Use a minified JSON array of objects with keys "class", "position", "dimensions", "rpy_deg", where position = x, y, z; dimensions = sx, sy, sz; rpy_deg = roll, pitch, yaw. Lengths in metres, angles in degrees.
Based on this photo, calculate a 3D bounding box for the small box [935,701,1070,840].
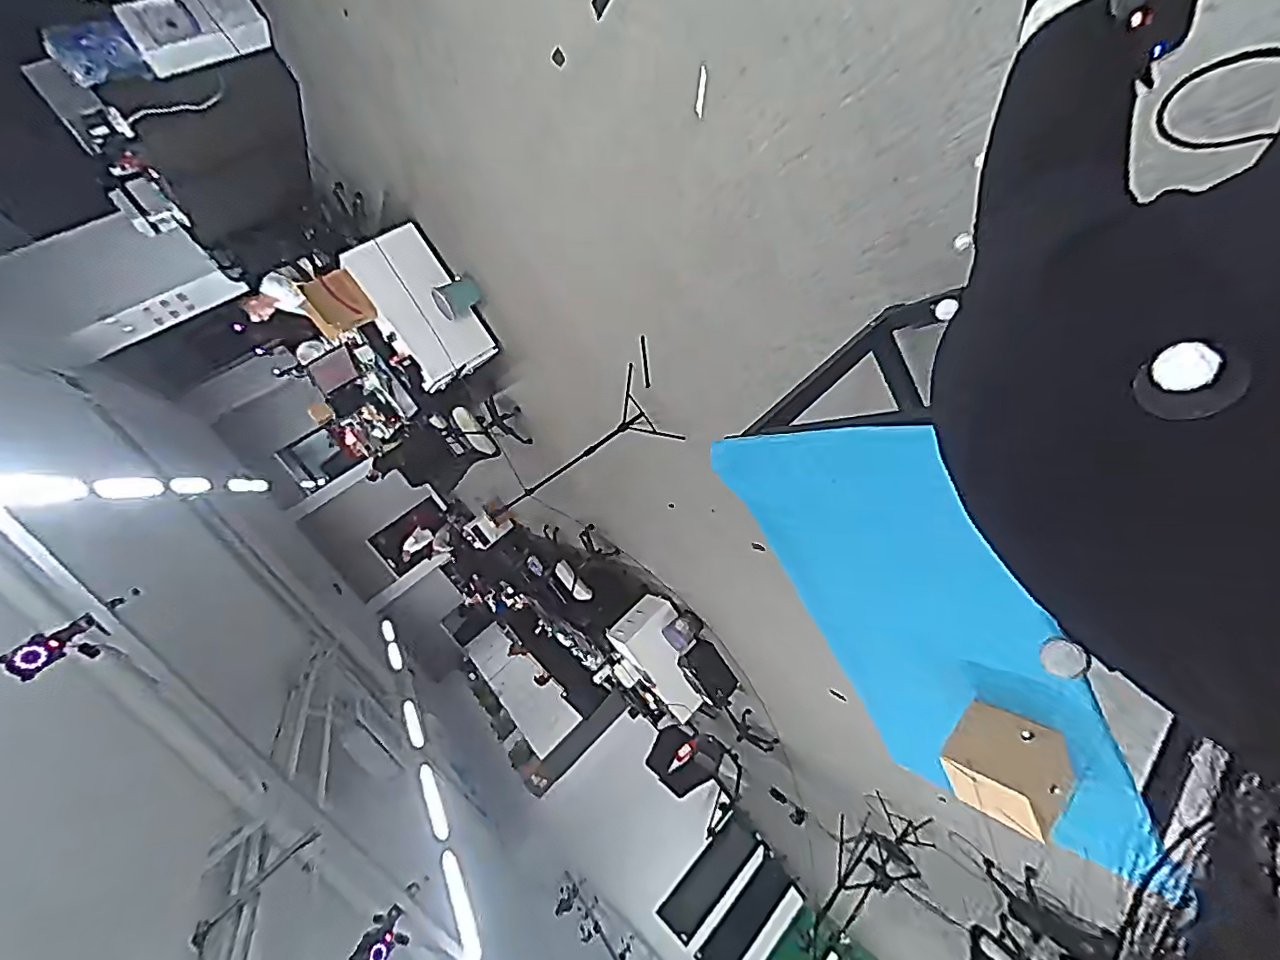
[{"class":"small box","position":[0.786,0.629,1.176],"dimensions":[0.179,0.176,0.168],"rpy_deg":[5,130,58]}]
